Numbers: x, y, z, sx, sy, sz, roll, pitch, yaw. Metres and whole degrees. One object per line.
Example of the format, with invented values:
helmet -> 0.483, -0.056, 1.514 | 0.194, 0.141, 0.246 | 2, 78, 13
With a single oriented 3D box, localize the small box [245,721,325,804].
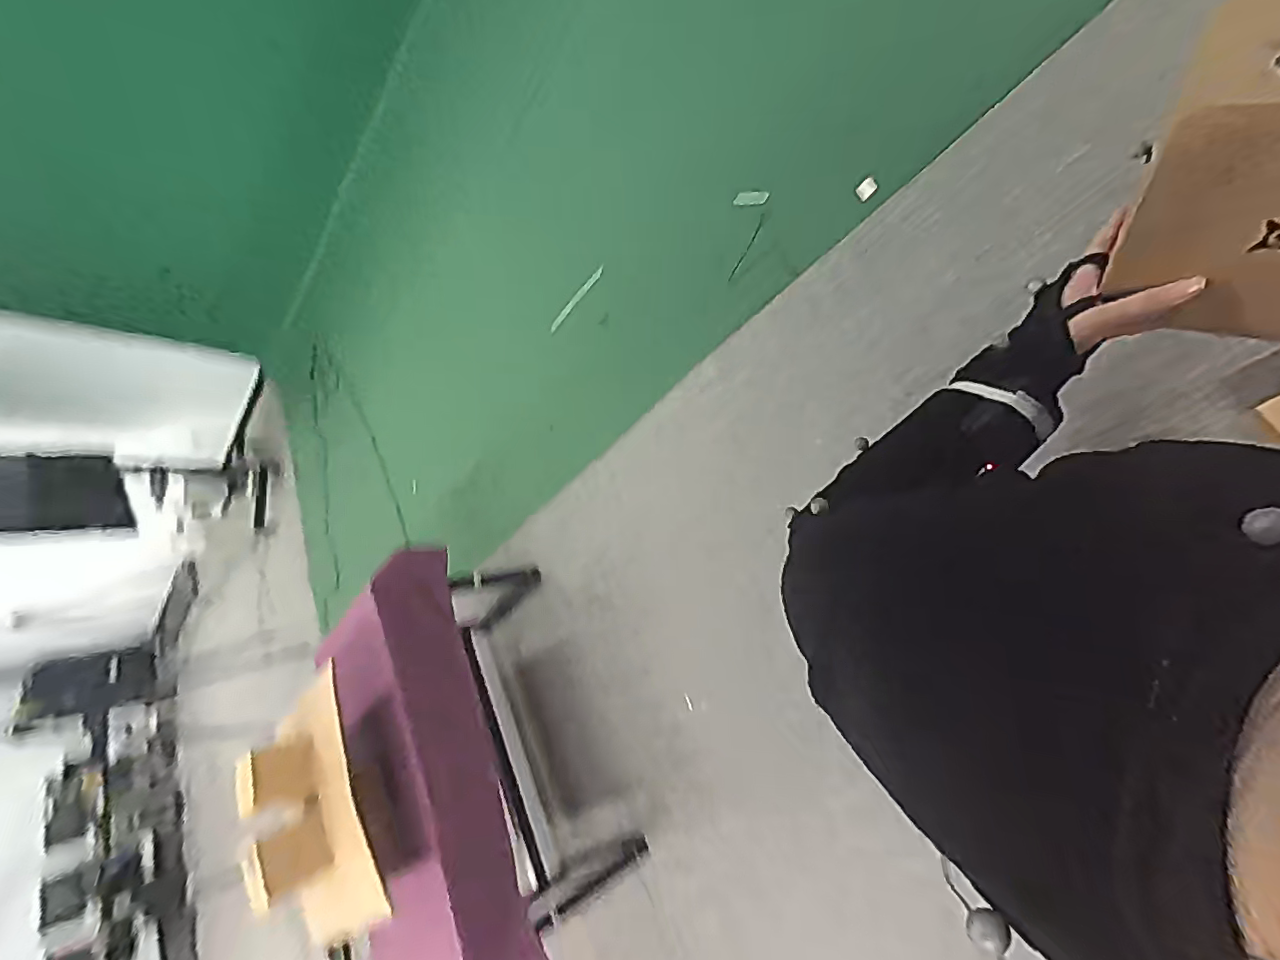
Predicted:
small box -> -1.095, 0.869, 1.670 | 0.179, 0.176, 0.168 | -40, 61, 32

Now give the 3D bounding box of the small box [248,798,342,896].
small box -> -1.007, 1.061, 1.580 | 0.168, 0.176, 0.179 | -41, 69, 32
